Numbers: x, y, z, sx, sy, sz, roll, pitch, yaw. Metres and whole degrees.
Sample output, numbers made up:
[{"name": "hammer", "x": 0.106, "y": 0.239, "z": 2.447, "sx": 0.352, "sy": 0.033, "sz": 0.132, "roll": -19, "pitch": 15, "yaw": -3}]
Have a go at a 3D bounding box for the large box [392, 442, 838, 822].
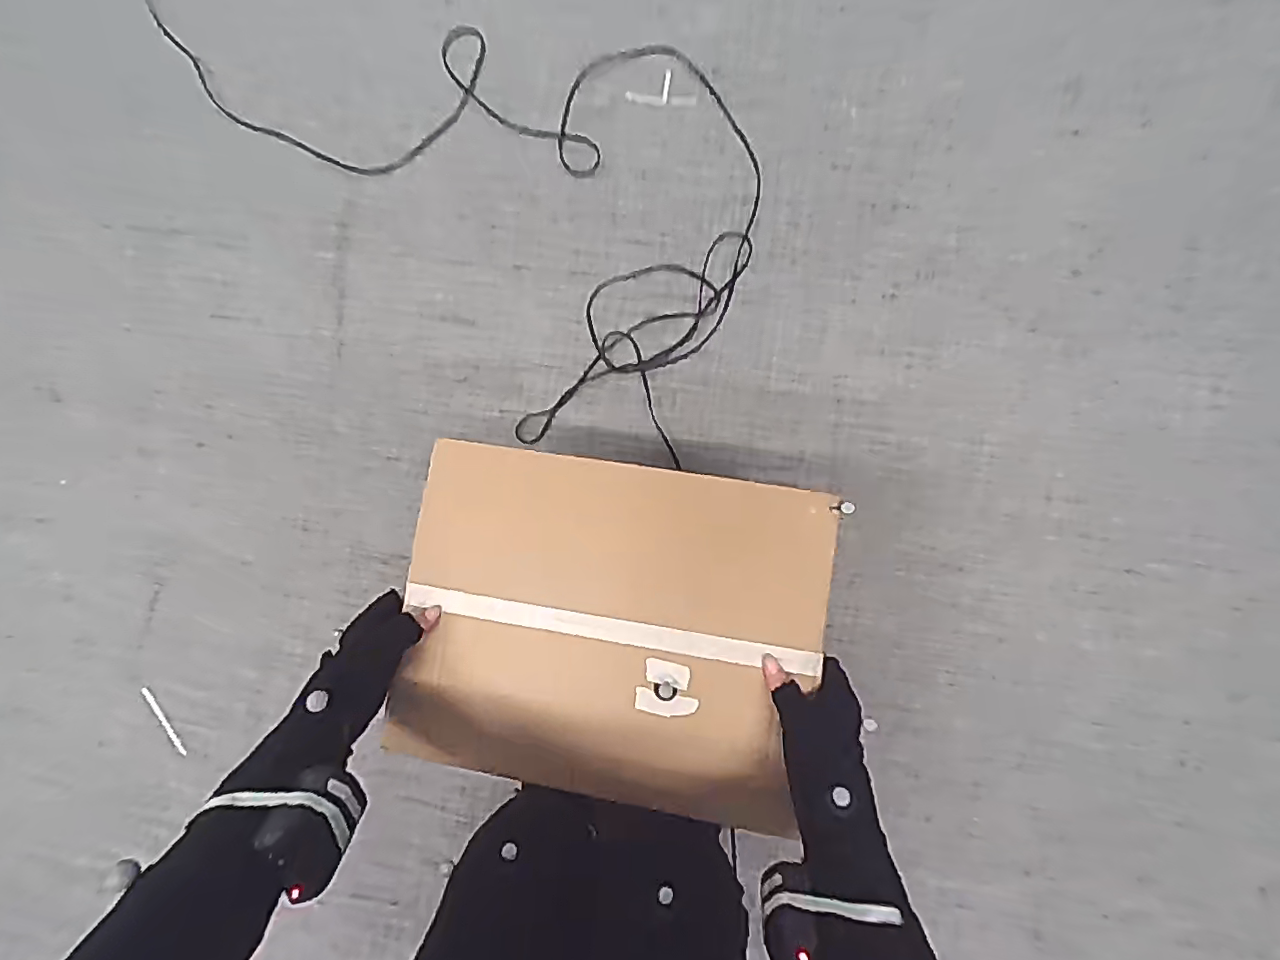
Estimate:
[{"name": "large box", "x": -0.015, "y": 0.149, "z": 0.664, "sx": 0.408, "sy": 0.320, "sz": 0.320, "roll": 8, "pitch": 86, "yaw": 6}]
